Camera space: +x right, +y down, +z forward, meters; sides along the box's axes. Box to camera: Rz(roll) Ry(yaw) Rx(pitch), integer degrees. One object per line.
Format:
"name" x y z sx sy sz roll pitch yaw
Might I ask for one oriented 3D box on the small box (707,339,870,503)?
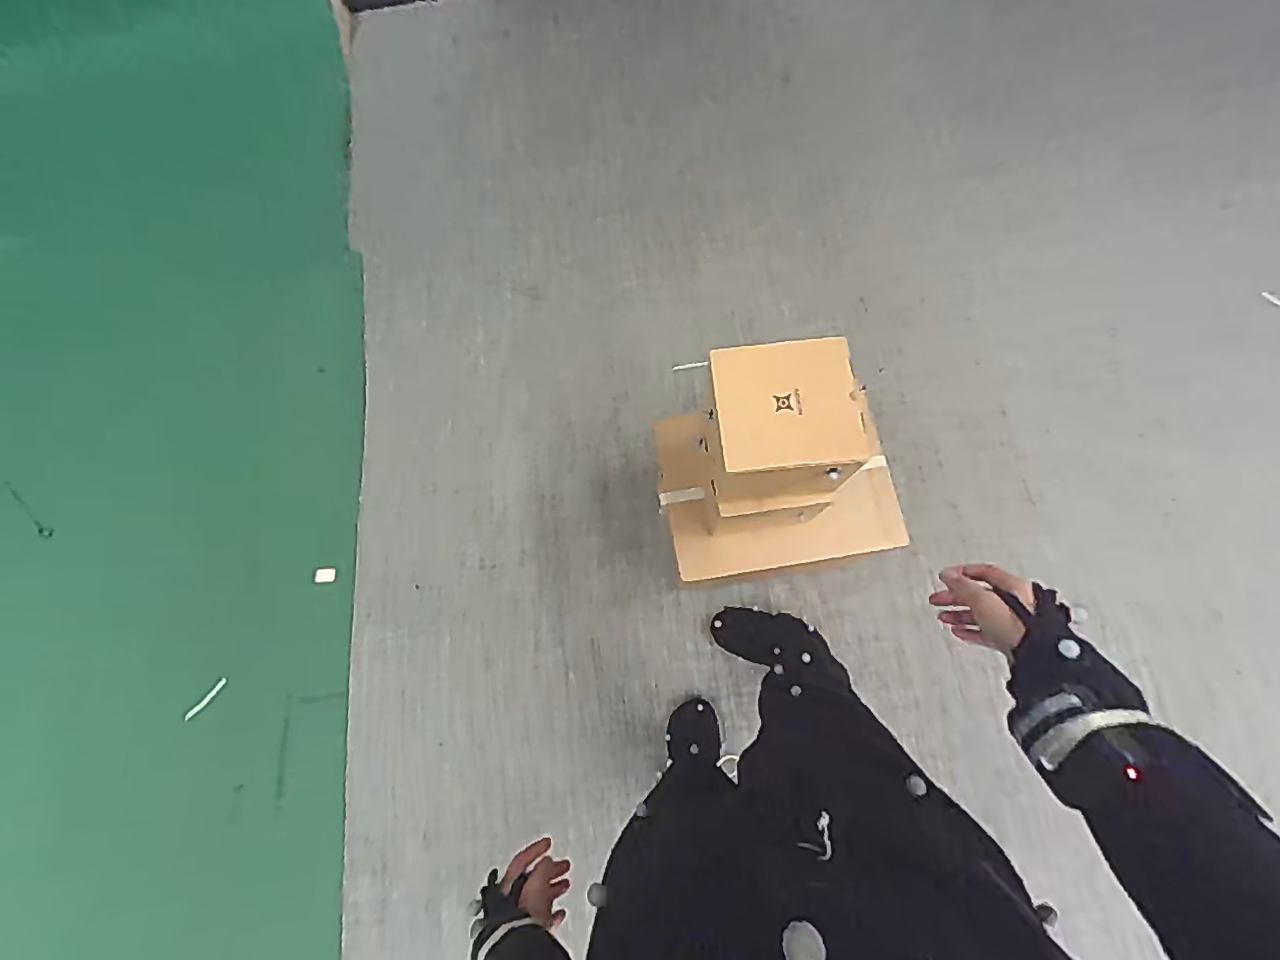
"small box" 0.186 -0.071 0.740 0.179 0.176 0.168 -6 74 2

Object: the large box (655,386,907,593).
"large box" 0.257 0.041 1.127 0.408 0.320 0.320 -10 75 1
